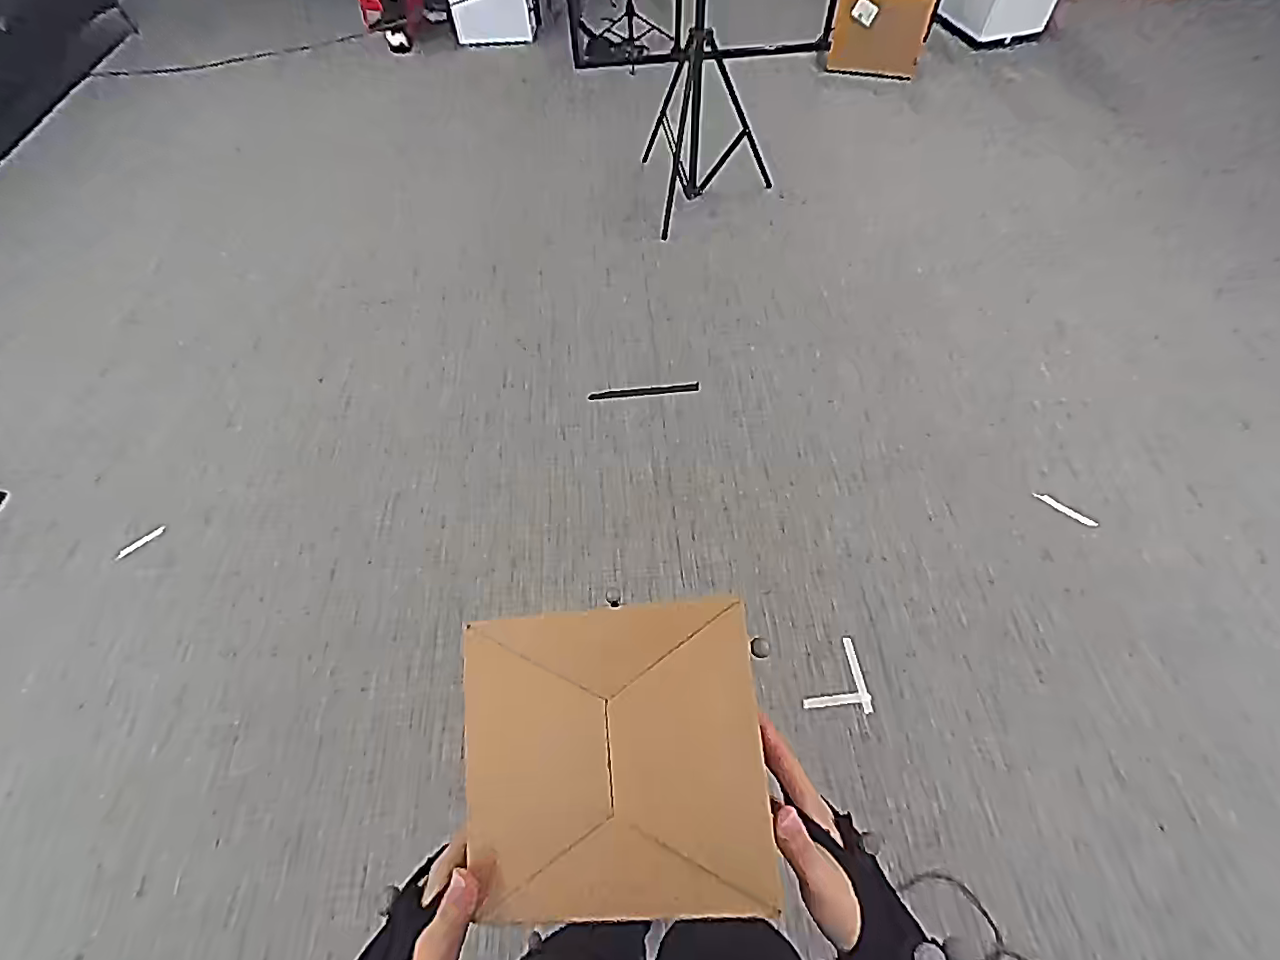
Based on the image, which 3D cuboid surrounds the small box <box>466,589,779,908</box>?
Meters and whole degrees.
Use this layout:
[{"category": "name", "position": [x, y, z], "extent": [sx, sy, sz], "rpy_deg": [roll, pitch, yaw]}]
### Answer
[{"category": "small box", "position": [-0.004, 0.171, 0.390], "extent": [0.179, 0.176, 0.168], "rpy_deg": [-7, 77, 6]}]
